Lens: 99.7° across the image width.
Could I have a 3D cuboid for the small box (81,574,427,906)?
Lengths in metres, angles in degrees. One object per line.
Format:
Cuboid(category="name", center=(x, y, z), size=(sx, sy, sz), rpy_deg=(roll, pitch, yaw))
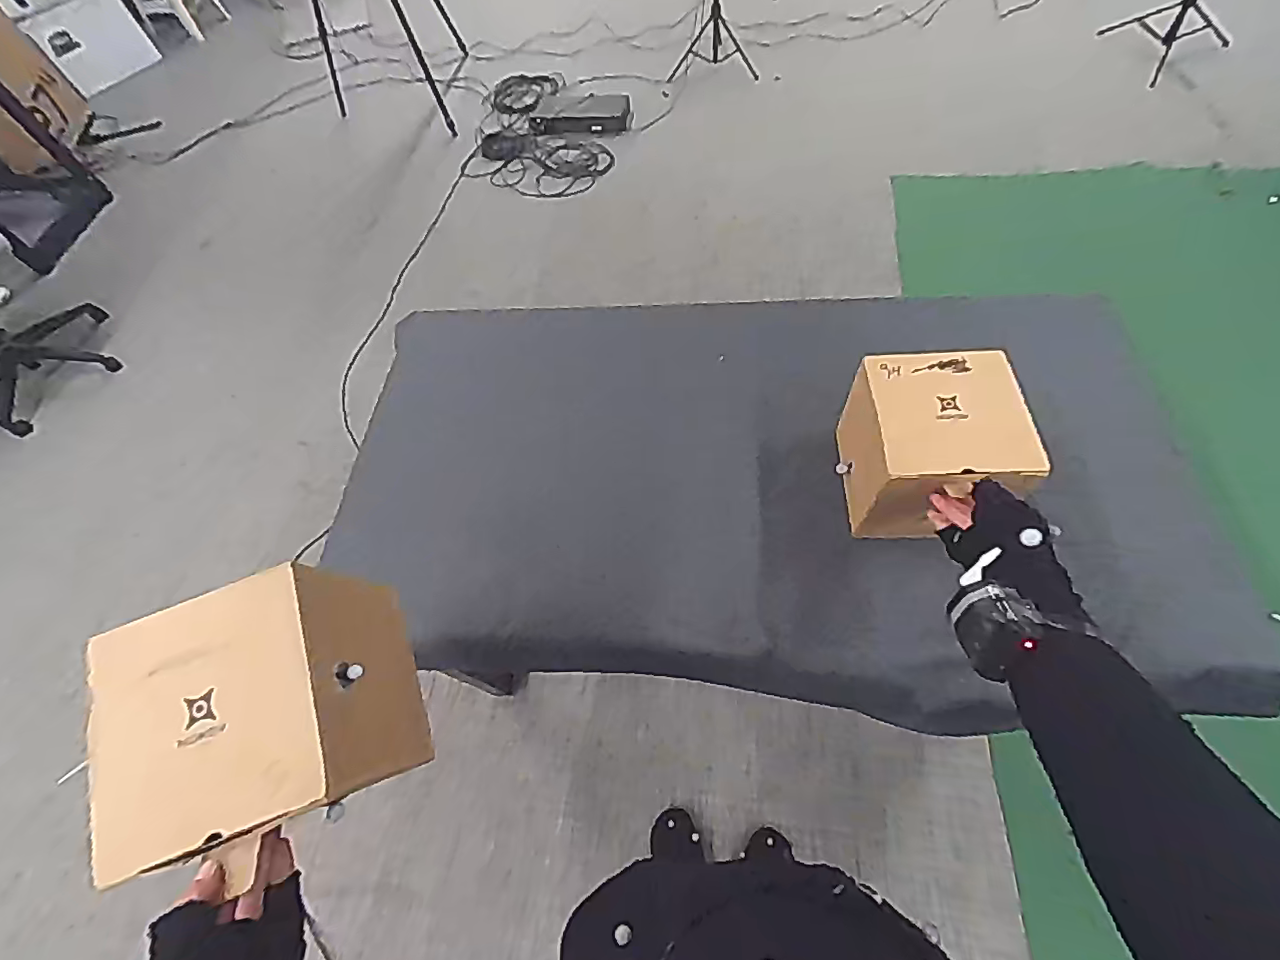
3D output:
Cuboid(category="small box", center=(-0.304, 0.199, 0.456), size=(0.168, 0.176, 0.179), rpy_deg=(-21, 70, -3))
